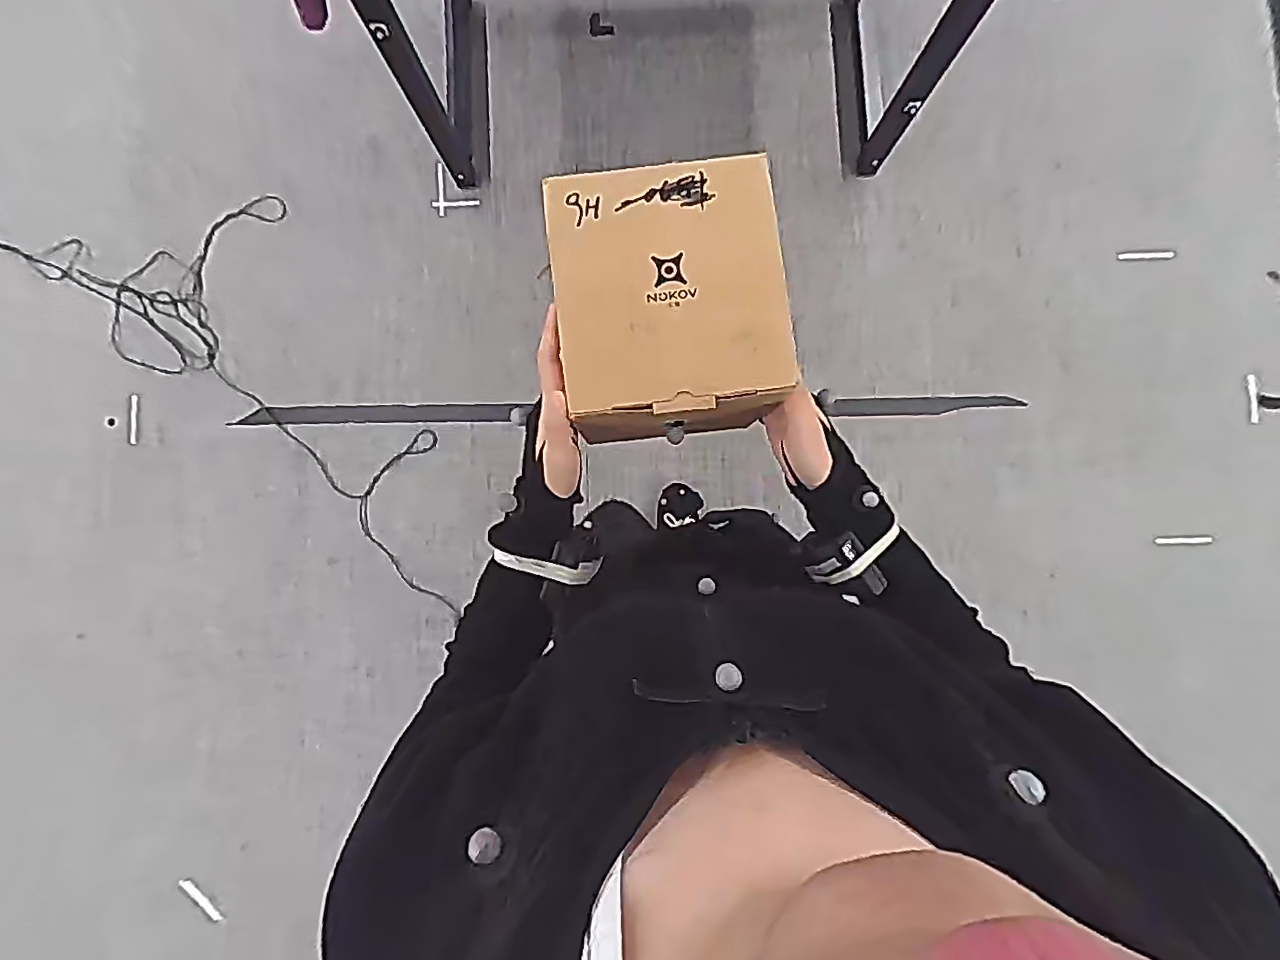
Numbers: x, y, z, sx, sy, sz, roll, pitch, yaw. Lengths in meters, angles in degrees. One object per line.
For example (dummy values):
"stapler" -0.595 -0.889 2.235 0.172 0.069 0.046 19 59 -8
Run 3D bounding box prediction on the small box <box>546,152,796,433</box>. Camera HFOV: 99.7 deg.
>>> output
"small box" 0.022 -0.138 0.464 0.168 0.176 0.179 -7 87 0
